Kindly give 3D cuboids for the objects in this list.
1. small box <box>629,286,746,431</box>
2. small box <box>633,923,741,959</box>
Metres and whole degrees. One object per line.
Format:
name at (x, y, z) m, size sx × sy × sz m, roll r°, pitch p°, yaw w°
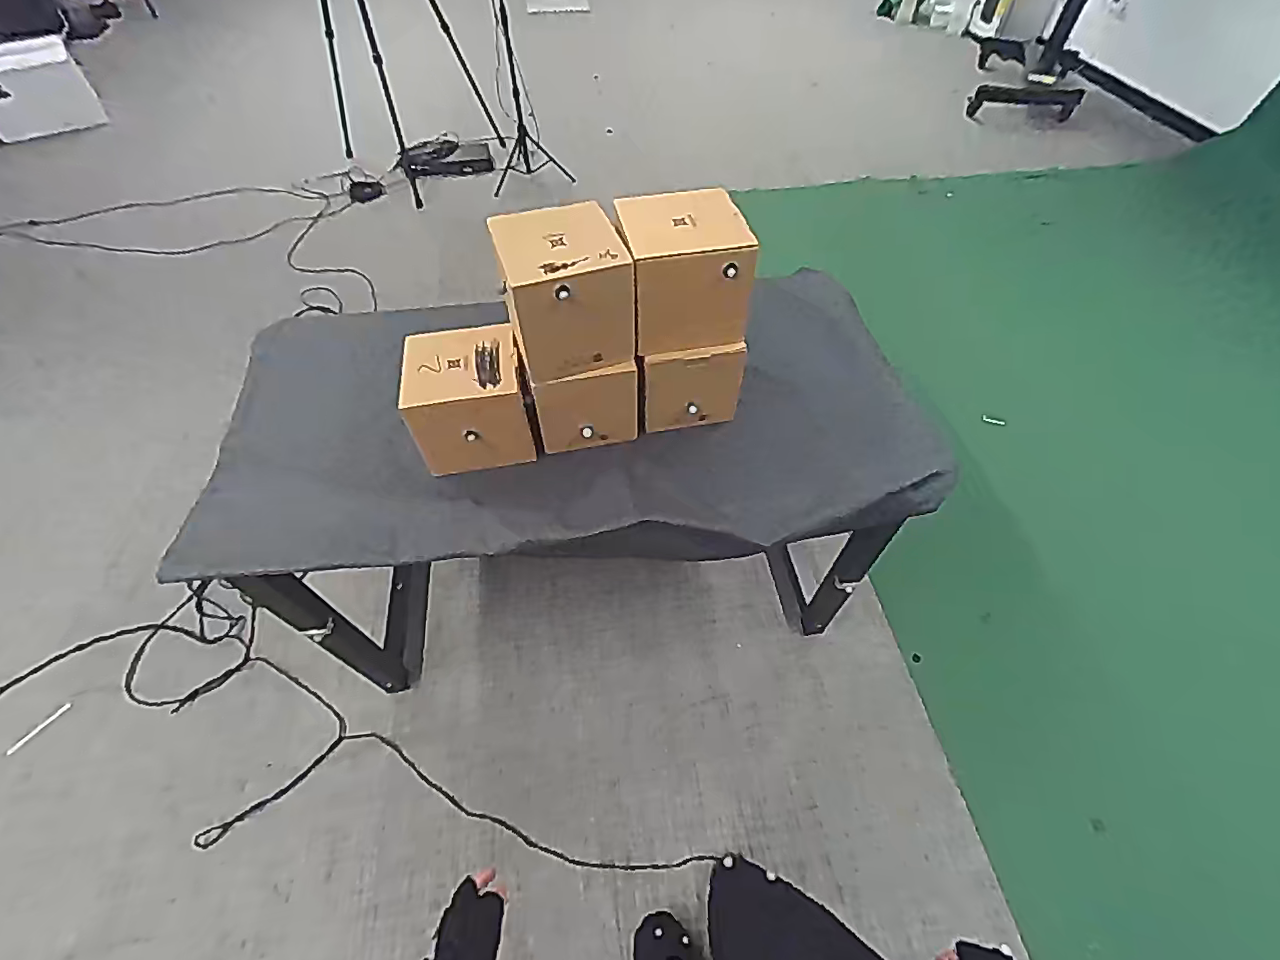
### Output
small box at (0.075, -0.213, 0.956) m, size 0.168 × 0.176 × 0.179 m, roll -10°, pitch 54°, yaw -5°
small box at (0.077, 0.976, 1.015) m, size 0.179 × 0.176 × 0.168 m, roll 4°, pitch 63°, yaw 26°
